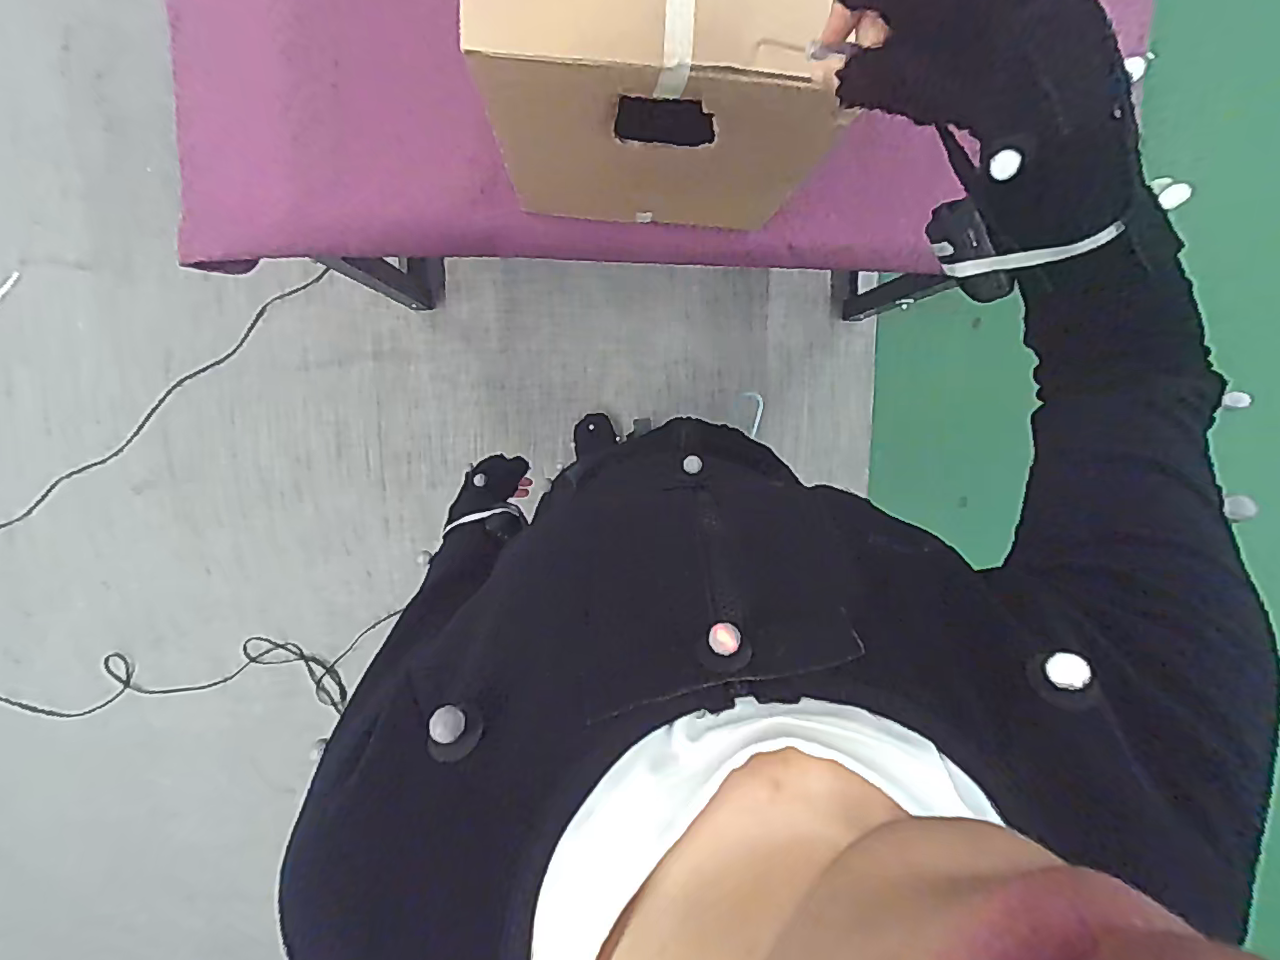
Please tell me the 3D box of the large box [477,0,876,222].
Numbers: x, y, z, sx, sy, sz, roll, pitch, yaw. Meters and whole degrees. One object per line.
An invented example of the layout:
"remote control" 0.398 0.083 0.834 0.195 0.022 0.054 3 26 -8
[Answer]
"large box" 0.025 -0.526 0.537 0.320 0.320 0.408 2 98 -4
